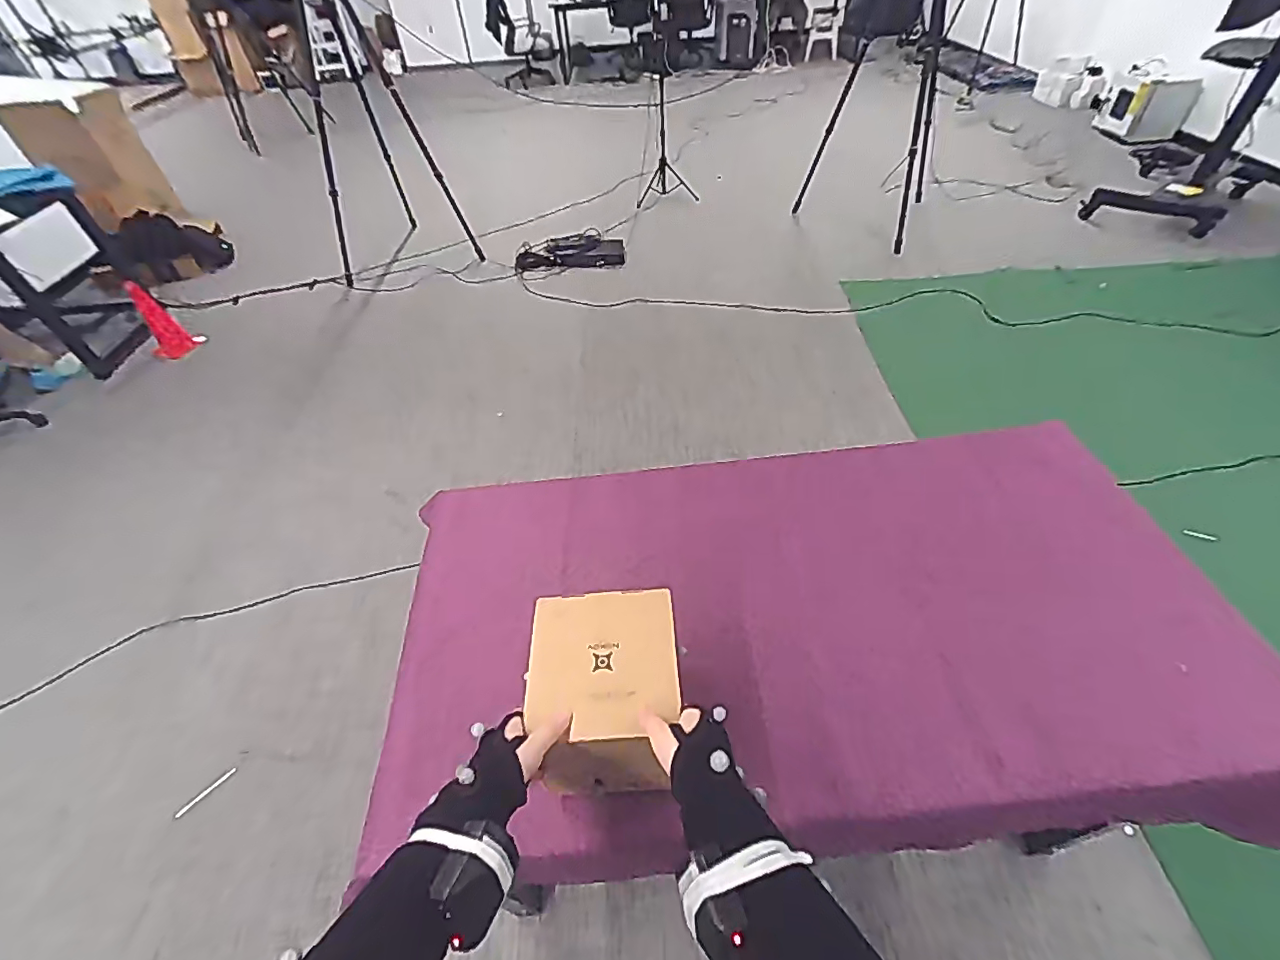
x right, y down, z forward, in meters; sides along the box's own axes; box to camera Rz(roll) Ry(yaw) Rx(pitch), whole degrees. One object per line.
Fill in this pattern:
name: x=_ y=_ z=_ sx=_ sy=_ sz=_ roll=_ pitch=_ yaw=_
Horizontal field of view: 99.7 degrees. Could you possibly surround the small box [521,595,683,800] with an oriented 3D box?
small box: x=-0.036 y=0.262 z=0.655 sx=0.168 sy=0.176 sz=0.179 roll=-4 pitch=44 yaw=2
